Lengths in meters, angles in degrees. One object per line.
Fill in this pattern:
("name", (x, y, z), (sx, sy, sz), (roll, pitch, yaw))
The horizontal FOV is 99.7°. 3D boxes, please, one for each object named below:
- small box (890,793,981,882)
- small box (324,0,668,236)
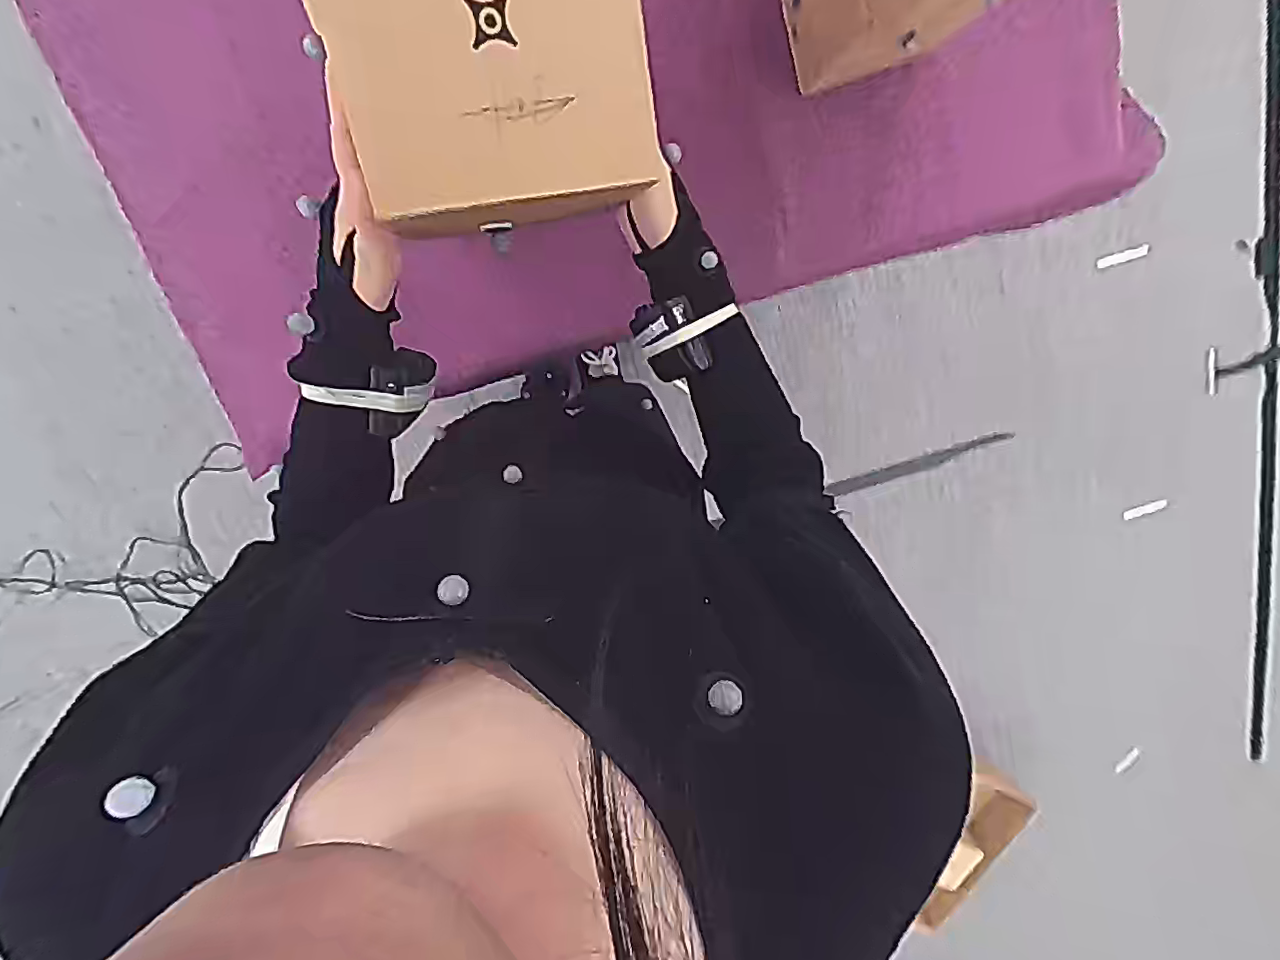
("small box", (1.008, 1.222, 1.859), (0.179, 0.176, 0.168), (30, 99, -14))
("small box", (-0.094, -0.265, 0.343), (0.168, 0.176, 0.179), (-13, 113, -12))
